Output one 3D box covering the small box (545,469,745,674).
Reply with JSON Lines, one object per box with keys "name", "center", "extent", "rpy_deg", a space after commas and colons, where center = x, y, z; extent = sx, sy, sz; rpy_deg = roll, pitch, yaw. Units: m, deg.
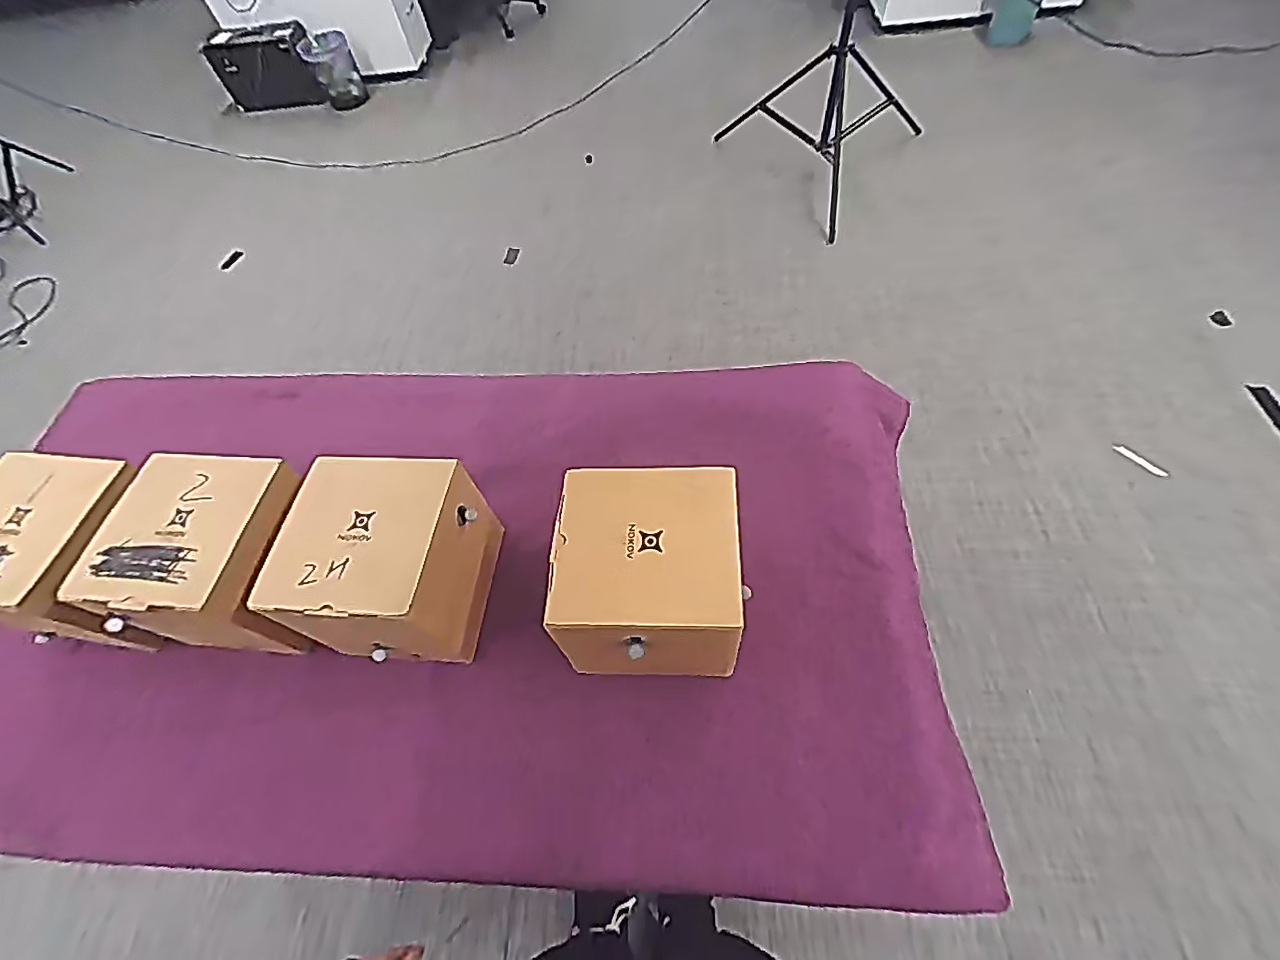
{"name": "small box", "center": [0.014, 0.102, 0.575], "extent": [0.179, 0.176, 0.168], "rpy_deg": [-1, 57, 6]}
